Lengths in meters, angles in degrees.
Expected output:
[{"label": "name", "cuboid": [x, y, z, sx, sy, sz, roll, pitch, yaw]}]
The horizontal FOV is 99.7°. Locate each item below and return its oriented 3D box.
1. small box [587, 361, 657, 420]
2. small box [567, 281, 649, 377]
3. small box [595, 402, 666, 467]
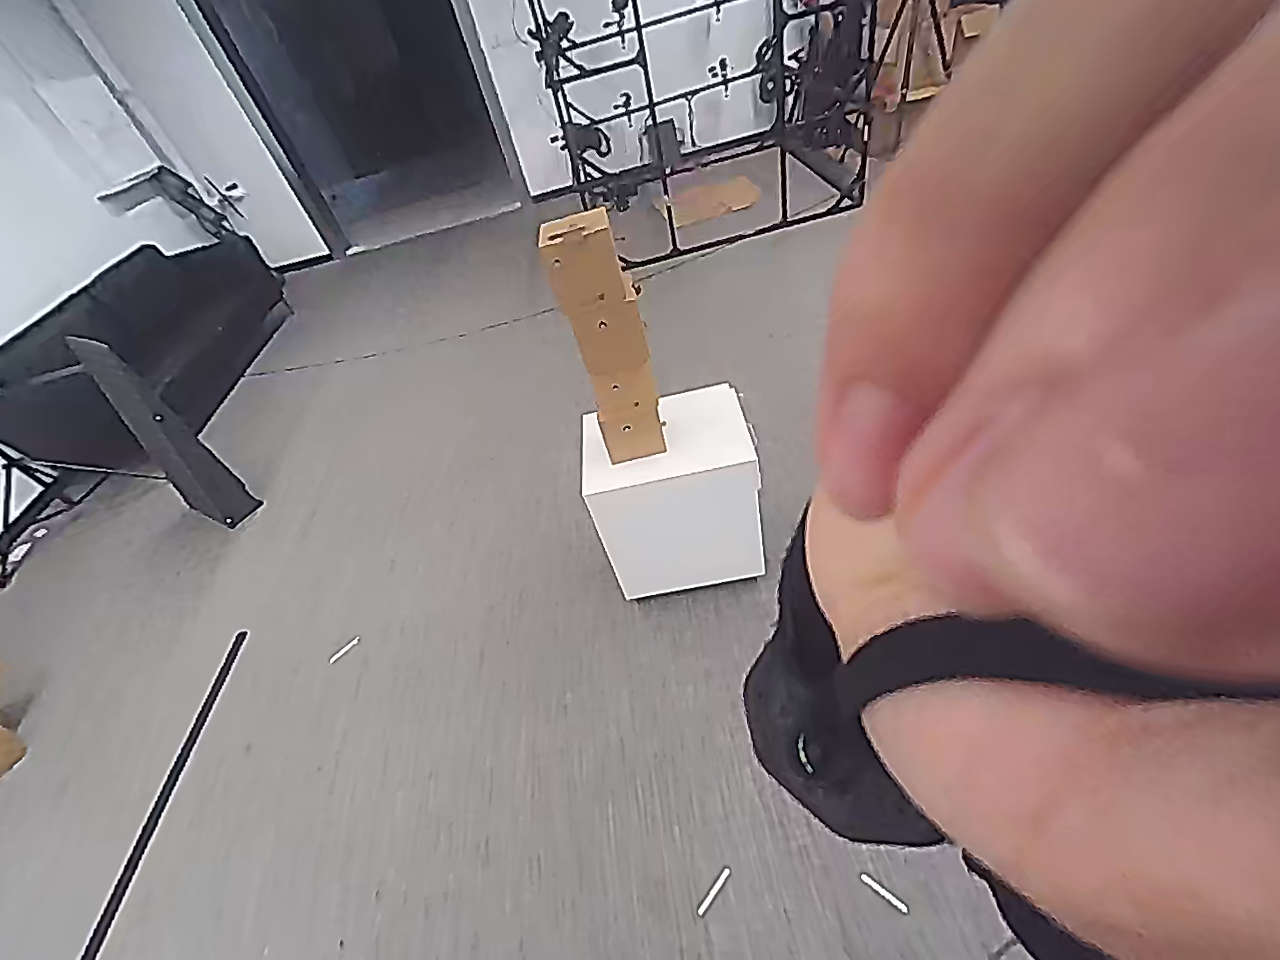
[{"label": "small box", "cuboid": [-0.052, -0.288, 1.546, 0.168, 0.176, 0.179, -13, 42, 4]}, {"label": "small box", "cuboid": [-0.084, -0.393, 1.422, 0.179, 0.176, 0.168, -13, 43, 4]}, {"label": "small box", "cuboid": [-0.029, -0.161, 1.646, 0.179, 0.176, 0.168, -13, 43, 3]}]
